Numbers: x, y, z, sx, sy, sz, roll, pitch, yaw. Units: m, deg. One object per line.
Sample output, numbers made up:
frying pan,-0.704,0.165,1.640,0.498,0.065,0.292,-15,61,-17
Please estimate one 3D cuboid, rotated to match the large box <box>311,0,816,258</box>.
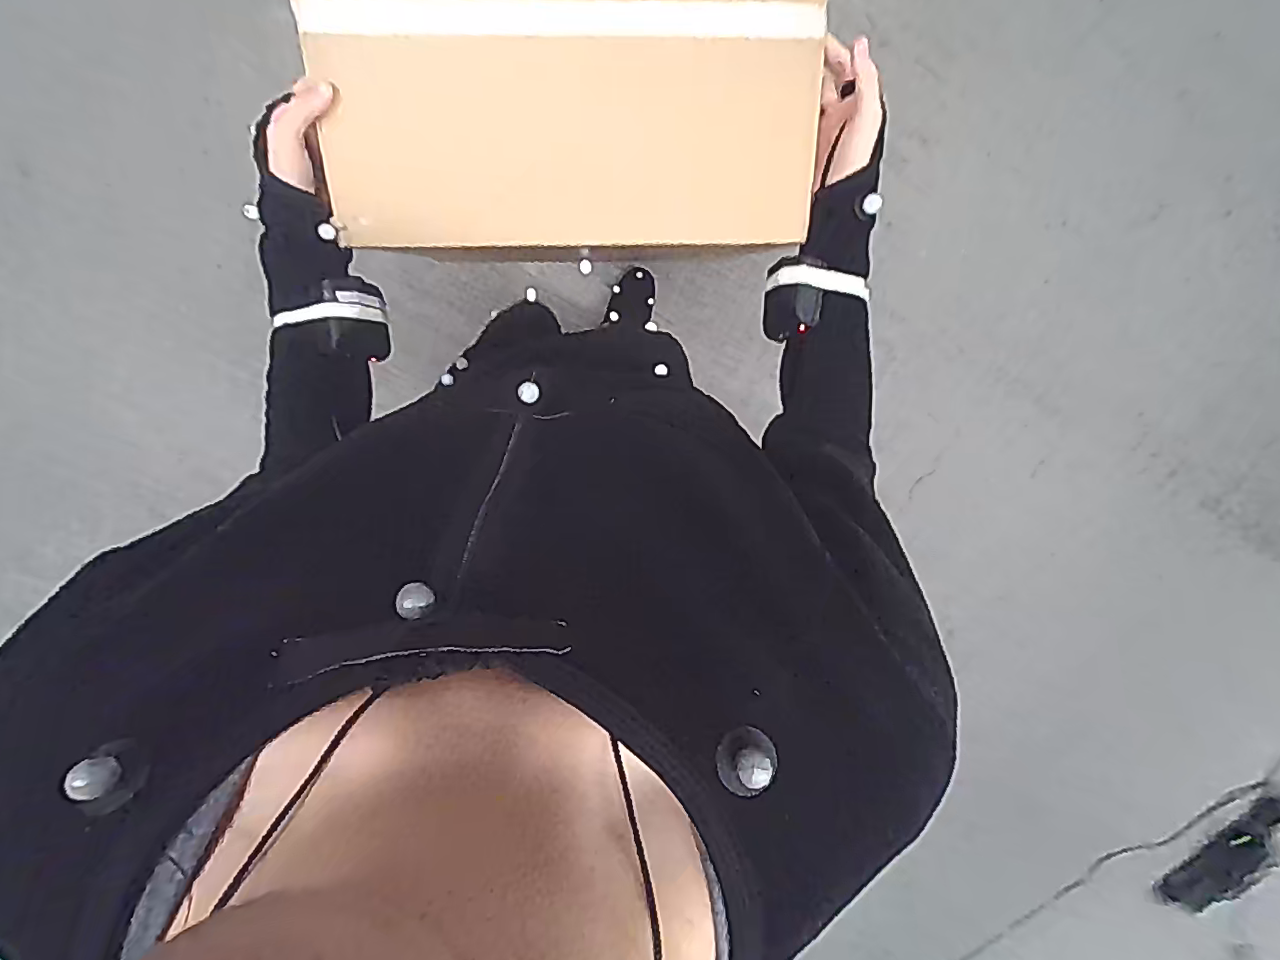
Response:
large box,-0.062,-0.413,0.568,0.408,0.320,0.320,-3,109,-2
